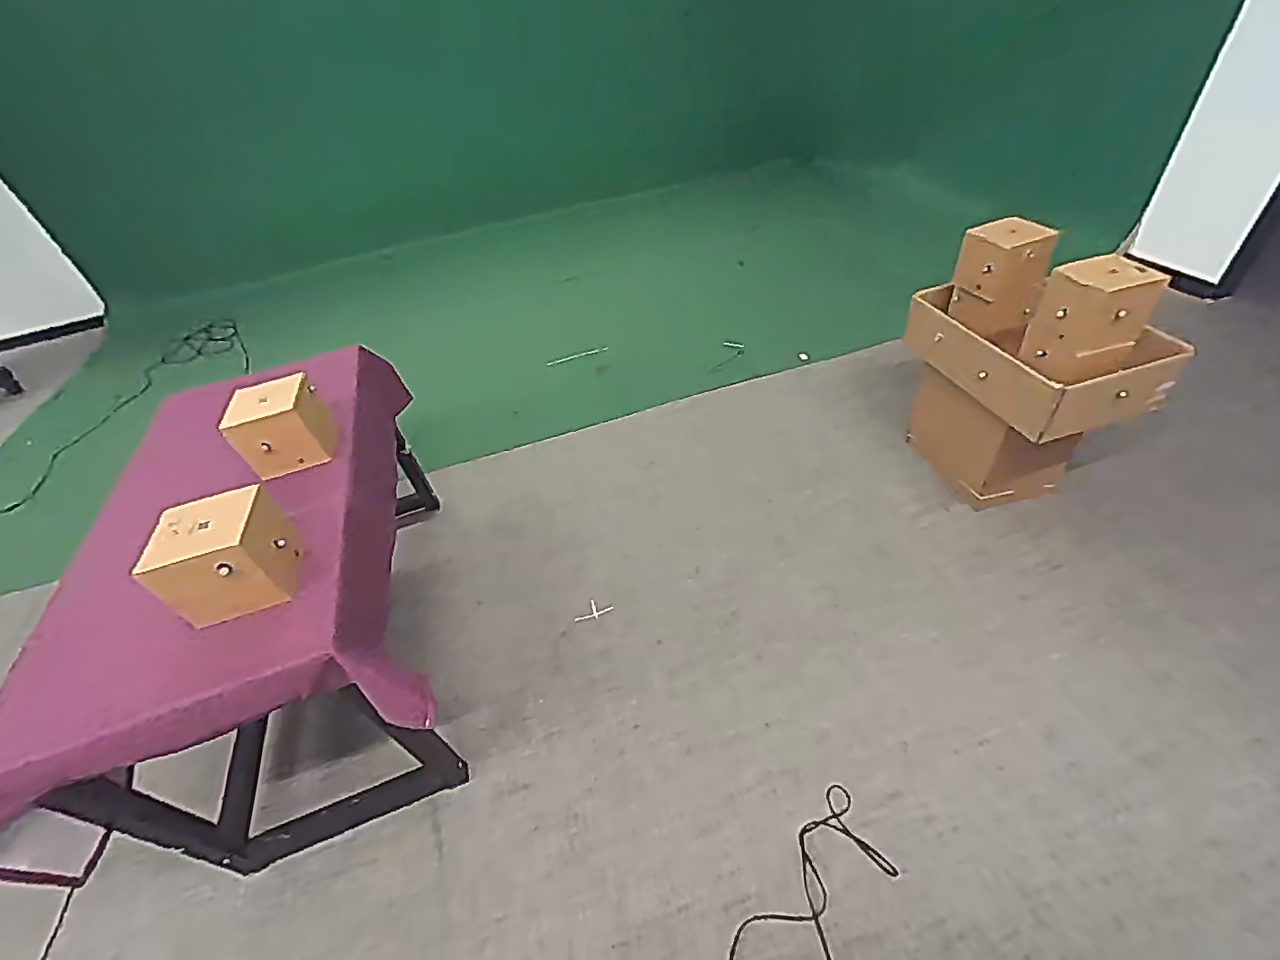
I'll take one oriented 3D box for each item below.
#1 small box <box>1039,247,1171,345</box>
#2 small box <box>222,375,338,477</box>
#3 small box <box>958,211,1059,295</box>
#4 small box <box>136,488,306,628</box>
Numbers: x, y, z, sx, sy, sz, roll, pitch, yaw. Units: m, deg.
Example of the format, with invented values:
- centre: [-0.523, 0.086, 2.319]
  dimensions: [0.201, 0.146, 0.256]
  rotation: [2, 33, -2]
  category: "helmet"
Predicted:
- centre: [1.170, -0.467, 1.383]
  dimensions: [0.179, 0.176, 0.168]
  rotation: [-15, 44, -3]
  category: "small box"
- centre: [-0.873, -0.127, 1.332]
  dimensions: [0.168, 0.176, 0.179]
  rotation: [-19, 43, -7]
  category: "small box"
- centre: [1.088, -0.677, 1.619]
  dimensions: [0.179, 0.176, 0.168]
  rotation: [-19, 45, -8]
  category: "small box"
- centre: [-0.770, 0.148, 1.021]
  dimensions: [0.179, 0.176, 0.168]
  rotation: [-18, 43, -6]
  category: "small box"
